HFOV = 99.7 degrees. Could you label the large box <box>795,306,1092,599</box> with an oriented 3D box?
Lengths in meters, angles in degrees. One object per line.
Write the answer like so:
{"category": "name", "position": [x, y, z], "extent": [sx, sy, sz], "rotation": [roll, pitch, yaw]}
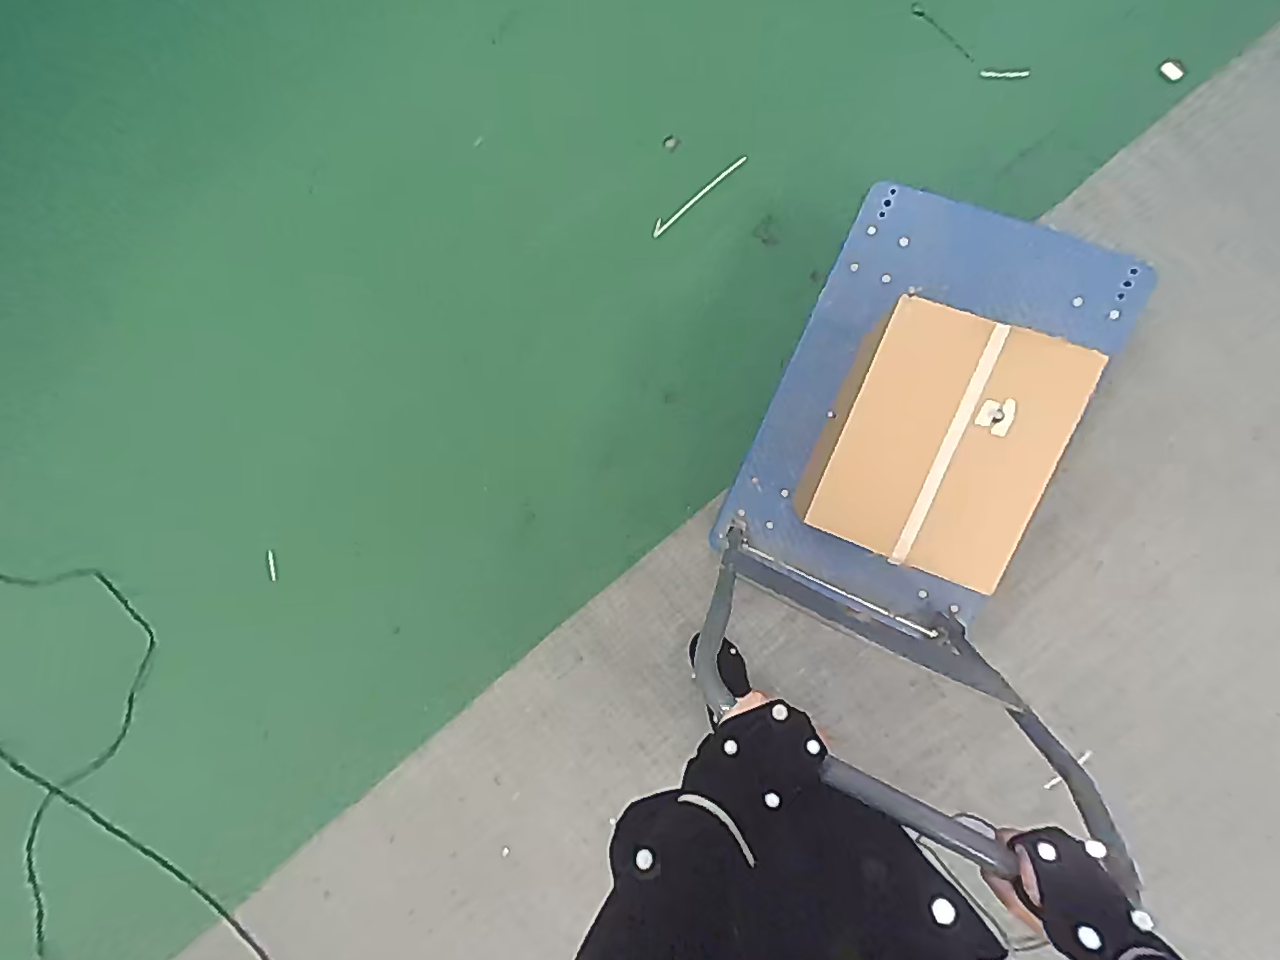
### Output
{"category": "large box", "position": [0.513, -0.050, 1.014], "extent": [0.320, 0.320, 0.408], "rotation": [22, 97, 10]}
